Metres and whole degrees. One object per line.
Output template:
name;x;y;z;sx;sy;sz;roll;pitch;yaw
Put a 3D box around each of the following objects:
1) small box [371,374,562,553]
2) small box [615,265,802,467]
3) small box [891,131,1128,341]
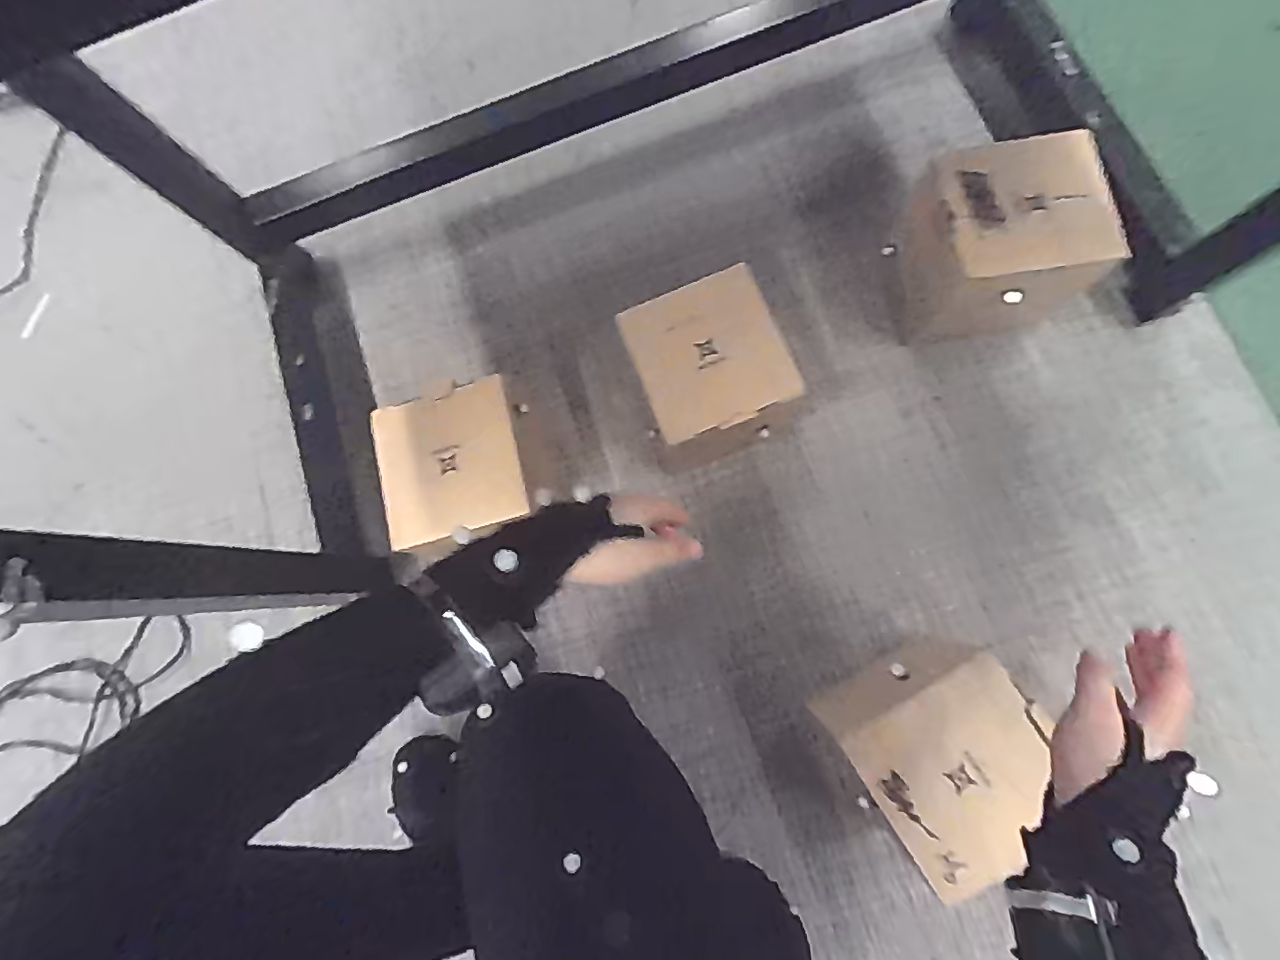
small box;-0.211;-0.008;0.696;0.168;0.176;0.179;-16;77;3
small box;0.083;-0.127;0.685;0.168;0.176;0.179;-21;77;1
small box;0.436;-0.289;0.677;0.179;0.176;0.168;-7;79;3
